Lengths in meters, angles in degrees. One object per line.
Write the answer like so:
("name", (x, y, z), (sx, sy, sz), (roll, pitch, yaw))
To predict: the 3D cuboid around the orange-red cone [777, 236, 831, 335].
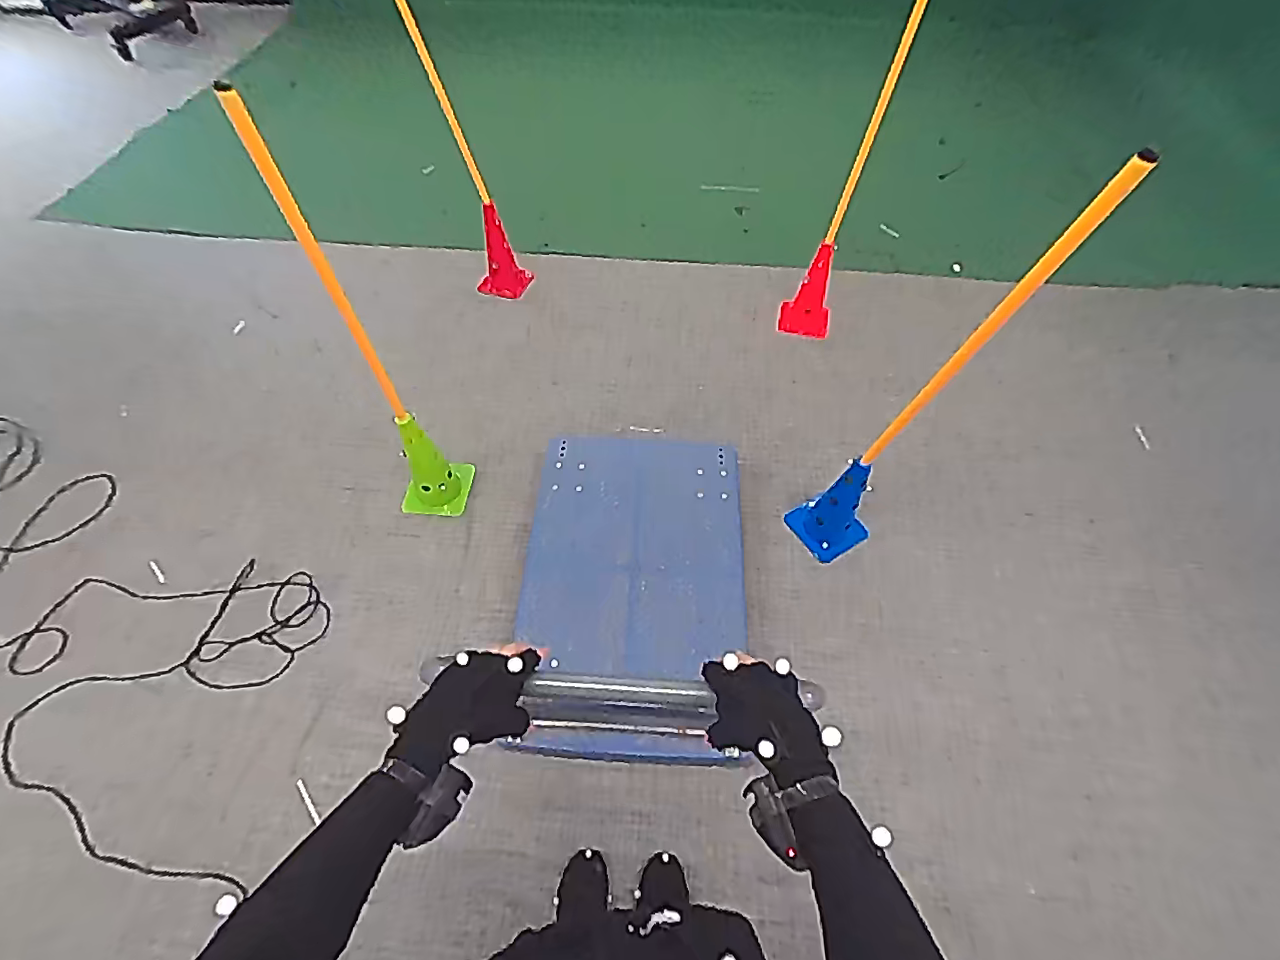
("orange-red cone", (0.674, -0.770, 2.093), (0.198, 0.360, 0.199), (13, 58, 9))
